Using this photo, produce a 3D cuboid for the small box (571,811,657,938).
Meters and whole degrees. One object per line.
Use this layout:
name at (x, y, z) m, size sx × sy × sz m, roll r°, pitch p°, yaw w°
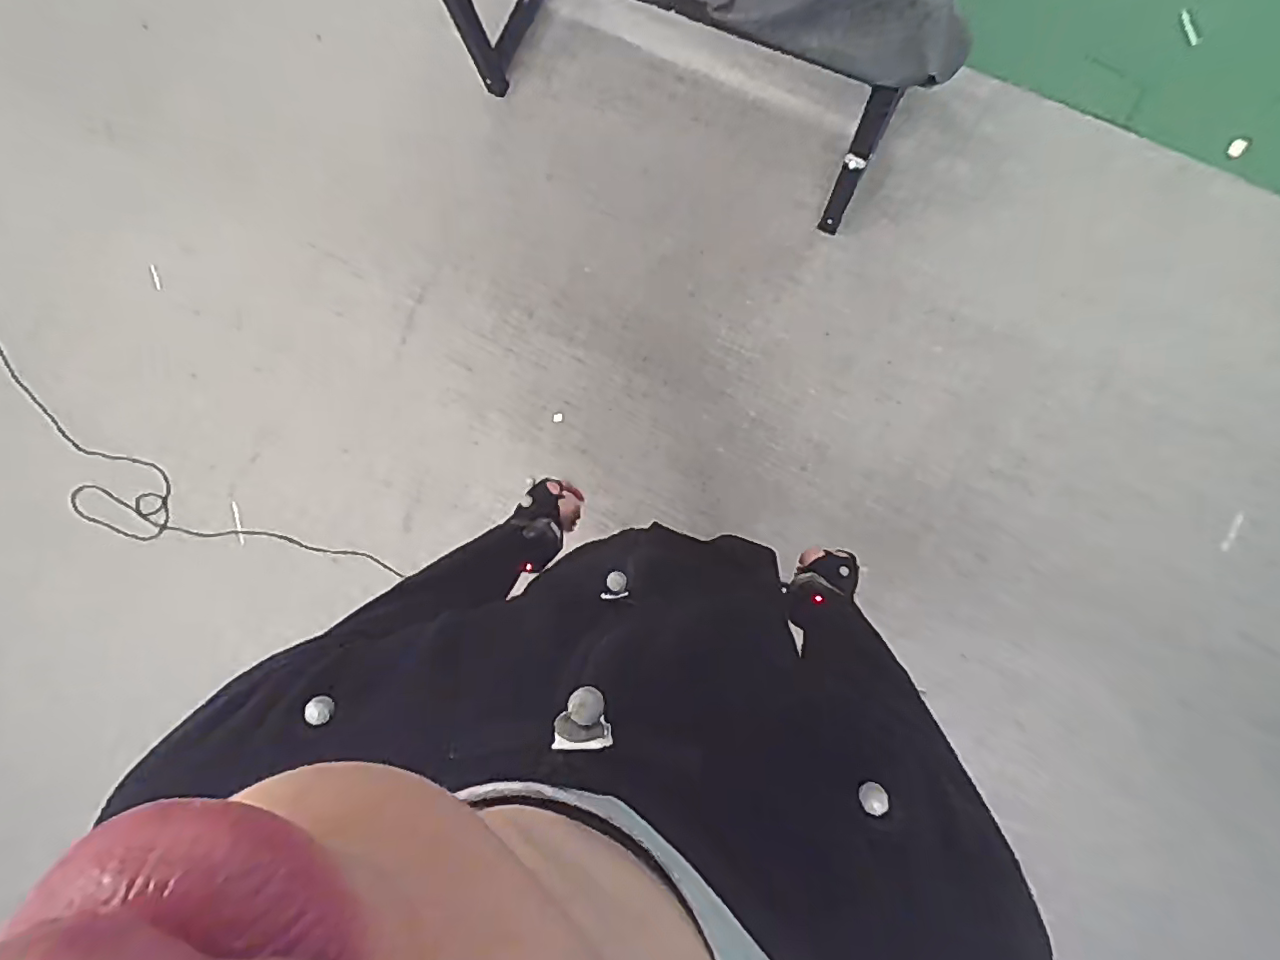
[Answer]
small box at (-0.058, 1.022, 1.418) m, size 0.168 × 0.176 × 0.179 m, roll 23°, pitch 87°, yaw 6°
